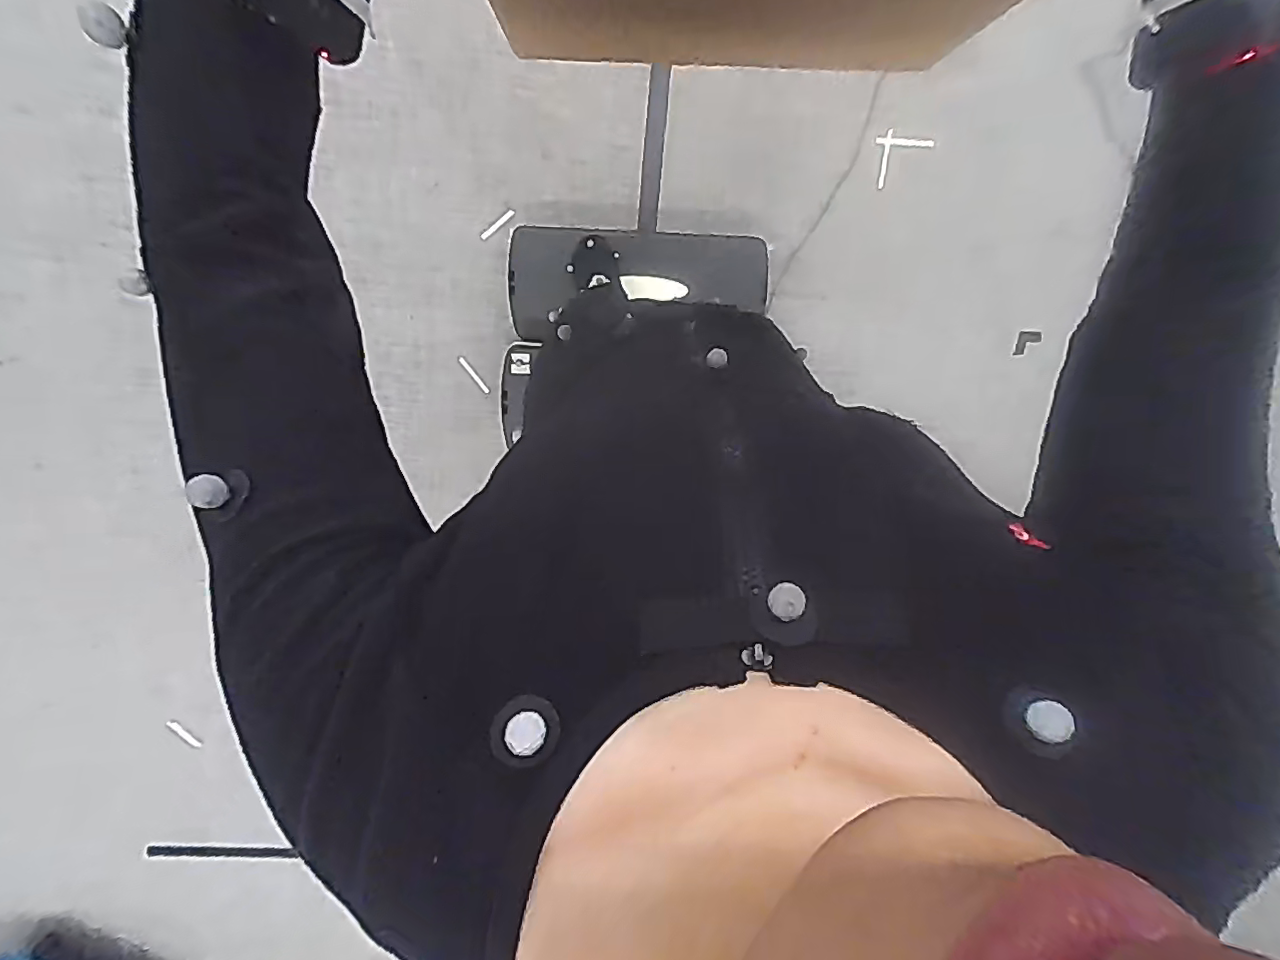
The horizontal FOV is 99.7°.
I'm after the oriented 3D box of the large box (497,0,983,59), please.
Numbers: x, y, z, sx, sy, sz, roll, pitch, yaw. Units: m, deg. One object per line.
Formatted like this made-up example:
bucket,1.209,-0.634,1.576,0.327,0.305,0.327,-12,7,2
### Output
large box,0.082,-0.509,0.342,0.408,0.320,0.320,0,110,-2
